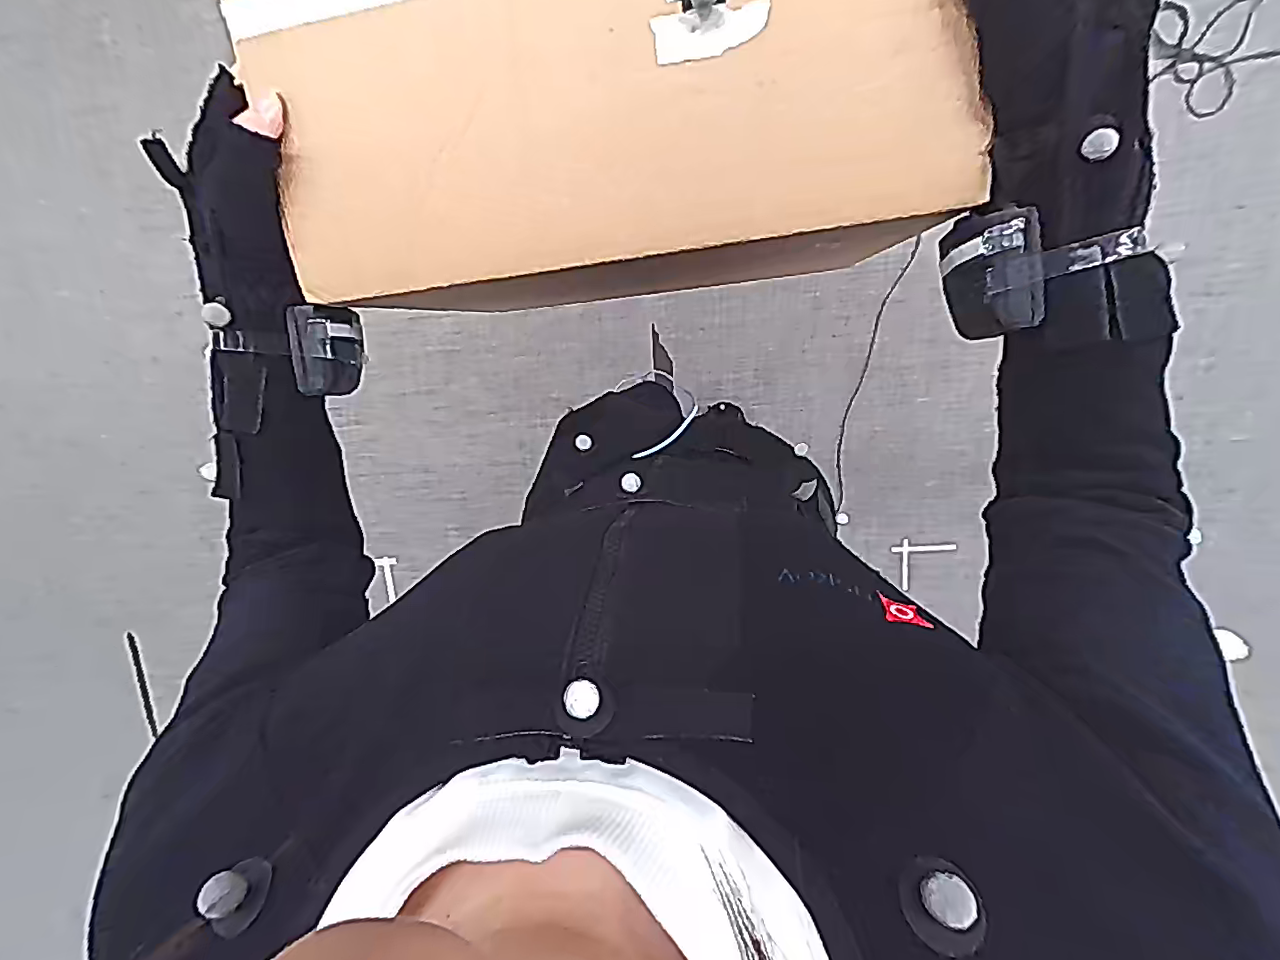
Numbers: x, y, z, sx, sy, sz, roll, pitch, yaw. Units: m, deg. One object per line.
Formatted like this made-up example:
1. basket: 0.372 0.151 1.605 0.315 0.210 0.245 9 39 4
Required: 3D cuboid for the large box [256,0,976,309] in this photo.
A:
1. large box: -0.014 -0.329 0.433 0.408 0.320 0.320 -5 106 10
